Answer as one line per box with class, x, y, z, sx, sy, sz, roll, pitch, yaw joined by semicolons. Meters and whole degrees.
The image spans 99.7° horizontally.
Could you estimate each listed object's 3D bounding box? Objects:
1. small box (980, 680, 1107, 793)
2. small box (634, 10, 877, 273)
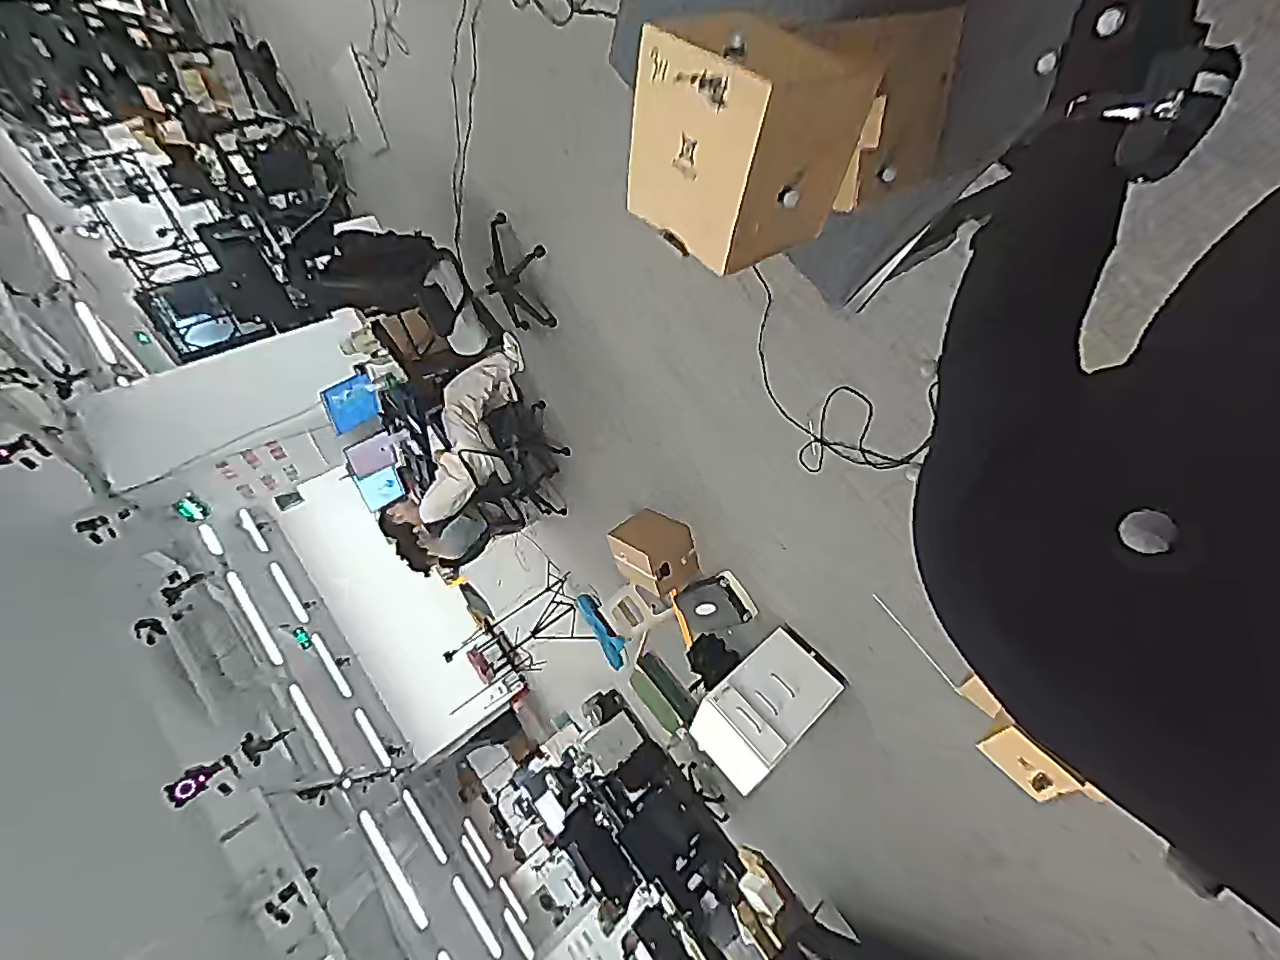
small box;1.031;0.653;1.382;0.179;0.176;0.168;43;147;27
small box;0.114;-0.359;0.574;0.168;0.176;0.179;45;151;24
